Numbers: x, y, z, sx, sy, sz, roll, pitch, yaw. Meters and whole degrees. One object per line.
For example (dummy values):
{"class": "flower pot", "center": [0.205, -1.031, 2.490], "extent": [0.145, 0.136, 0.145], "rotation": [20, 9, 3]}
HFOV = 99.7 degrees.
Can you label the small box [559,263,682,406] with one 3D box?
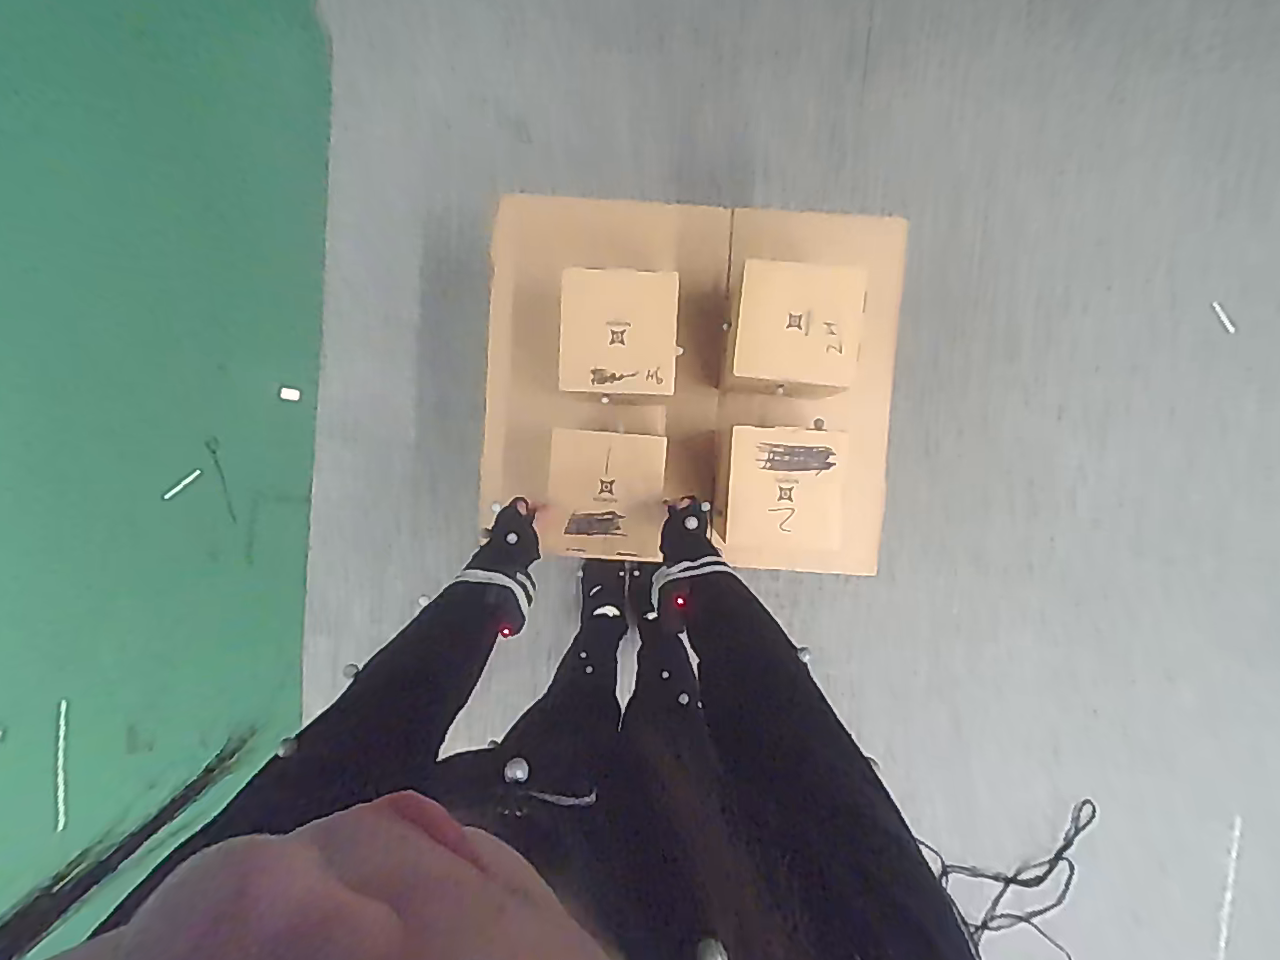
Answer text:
{"class": "small box", "center": [-0.025, -0.214, 0.835], "extent": [0.168, 0.176, 0.179], "rotation": [3, 92, 2]}
